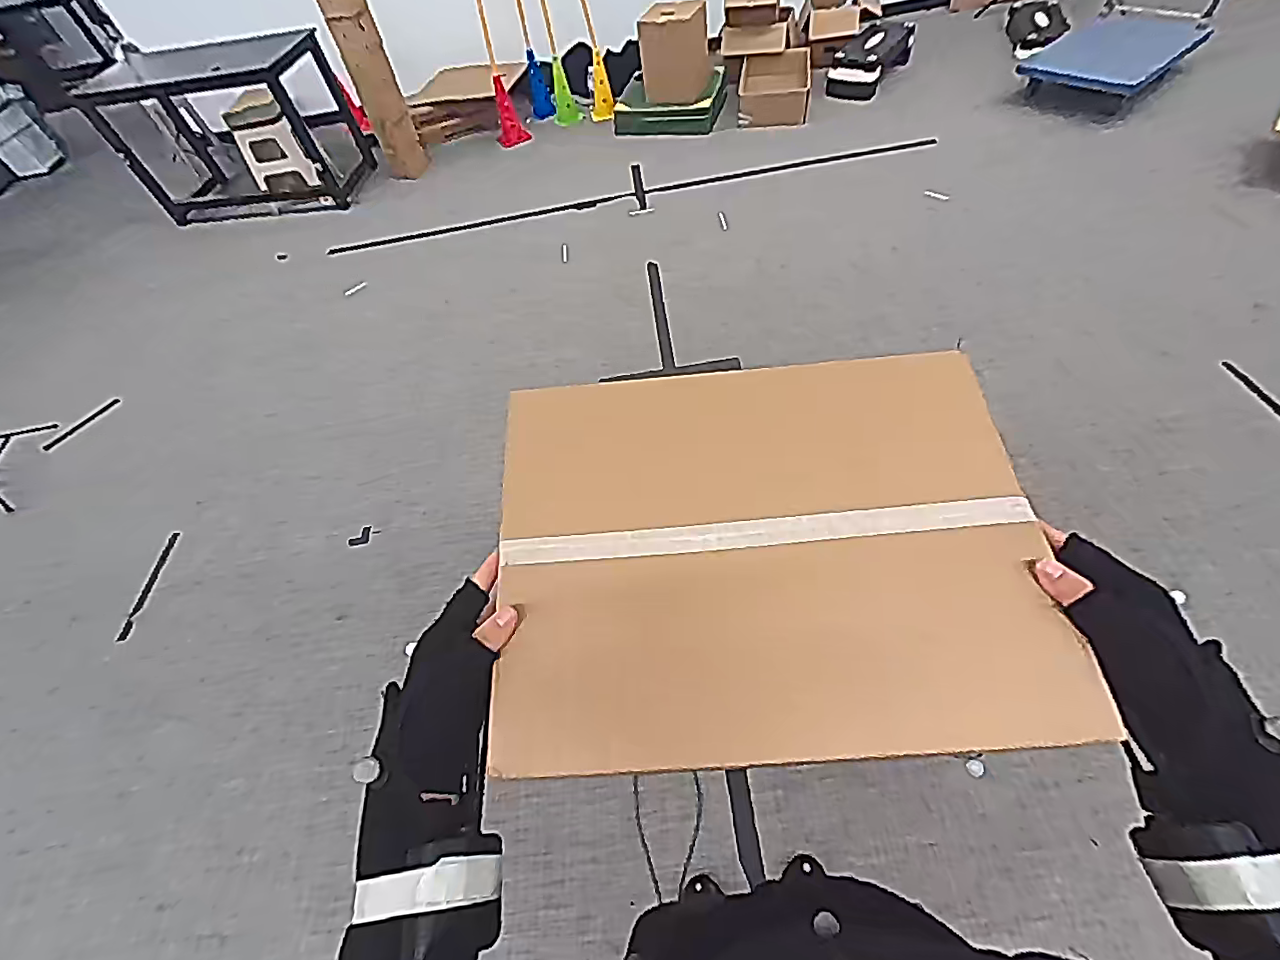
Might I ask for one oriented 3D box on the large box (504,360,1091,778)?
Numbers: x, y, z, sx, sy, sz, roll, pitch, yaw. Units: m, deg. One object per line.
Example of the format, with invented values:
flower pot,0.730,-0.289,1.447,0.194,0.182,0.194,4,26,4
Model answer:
large box,0.106,0.112,0.562,0.408,0.320,0.320,-5,63,3
